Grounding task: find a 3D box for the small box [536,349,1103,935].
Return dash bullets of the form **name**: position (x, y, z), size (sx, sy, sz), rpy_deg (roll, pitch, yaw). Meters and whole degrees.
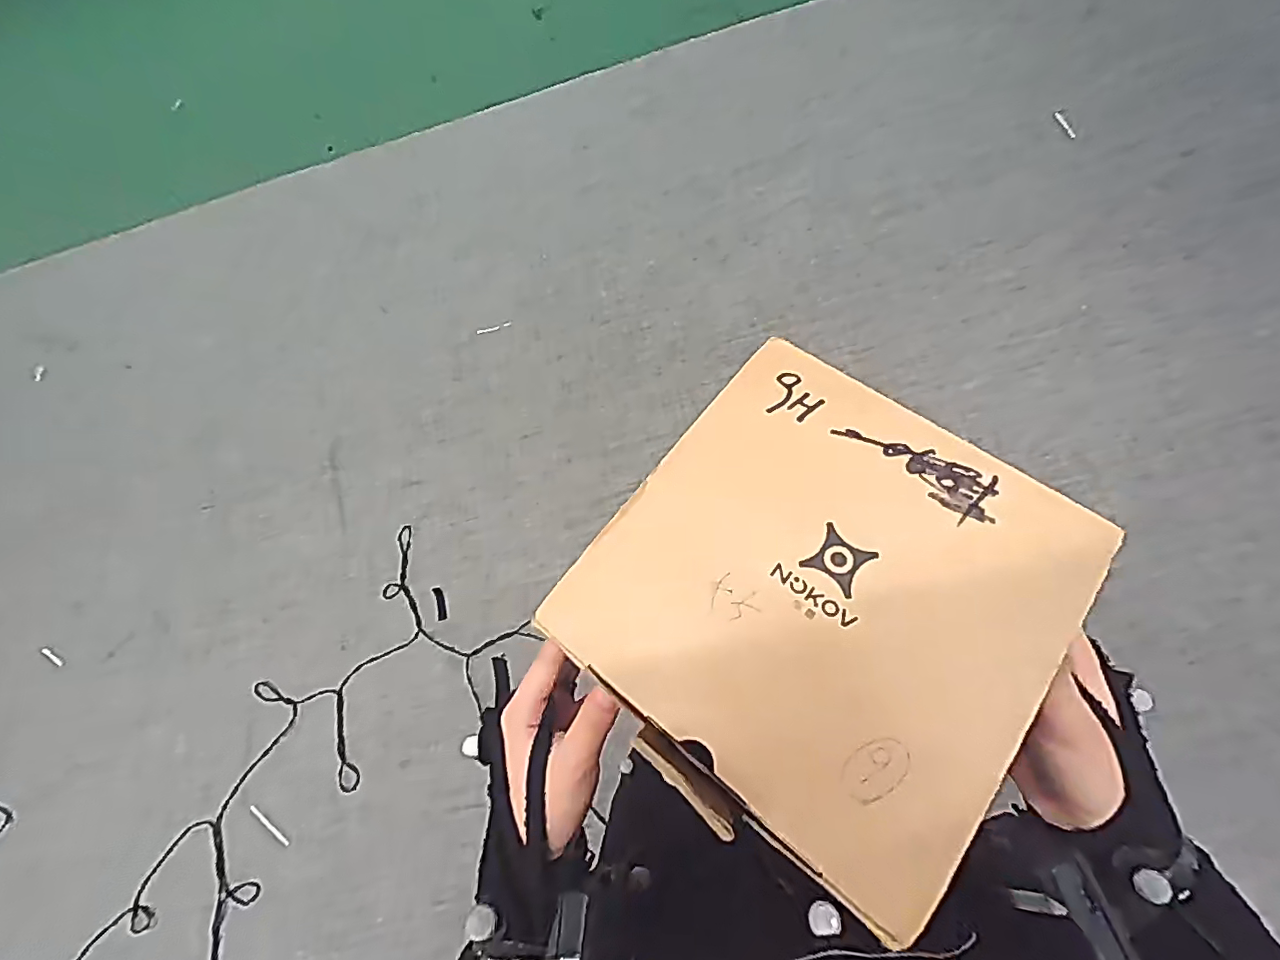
- **small box**: position (0.078, 0.073, 0.294), size (0.168, 0.176, 0.179), rpy_deg (36, 75, 18)
